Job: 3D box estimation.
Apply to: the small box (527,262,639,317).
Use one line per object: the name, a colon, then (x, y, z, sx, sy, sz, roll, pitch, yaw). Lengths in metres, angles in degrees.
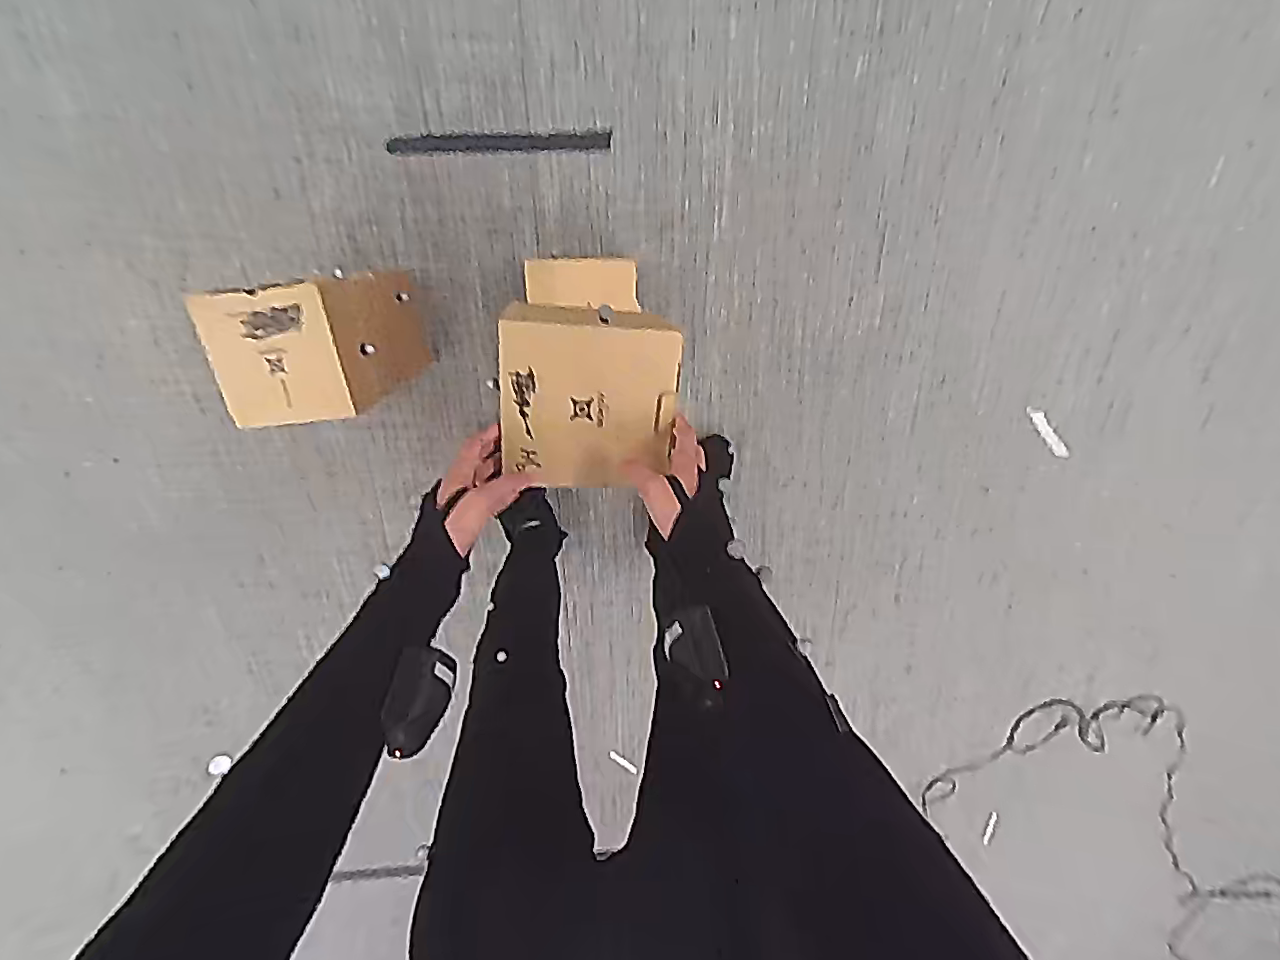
small box: (-0.094, -0.288, 0.941, 0.179, 0.176, 0.168, -1, 113, -5)

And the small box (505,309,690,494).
small box: (-0.058, -0.093, 0.604, 0.179, 0.176, 0.168, 1, 113, -11)

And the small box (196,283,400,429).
small box: (-0.471, -0.186, 0.778, 0.168, 0.176, 0.179, -6, 113, -1)

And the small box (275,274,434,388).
small box: (-0.474, -0.253, 0.928, 0.168, 0.176, 0.179, -7, 113, -1)
